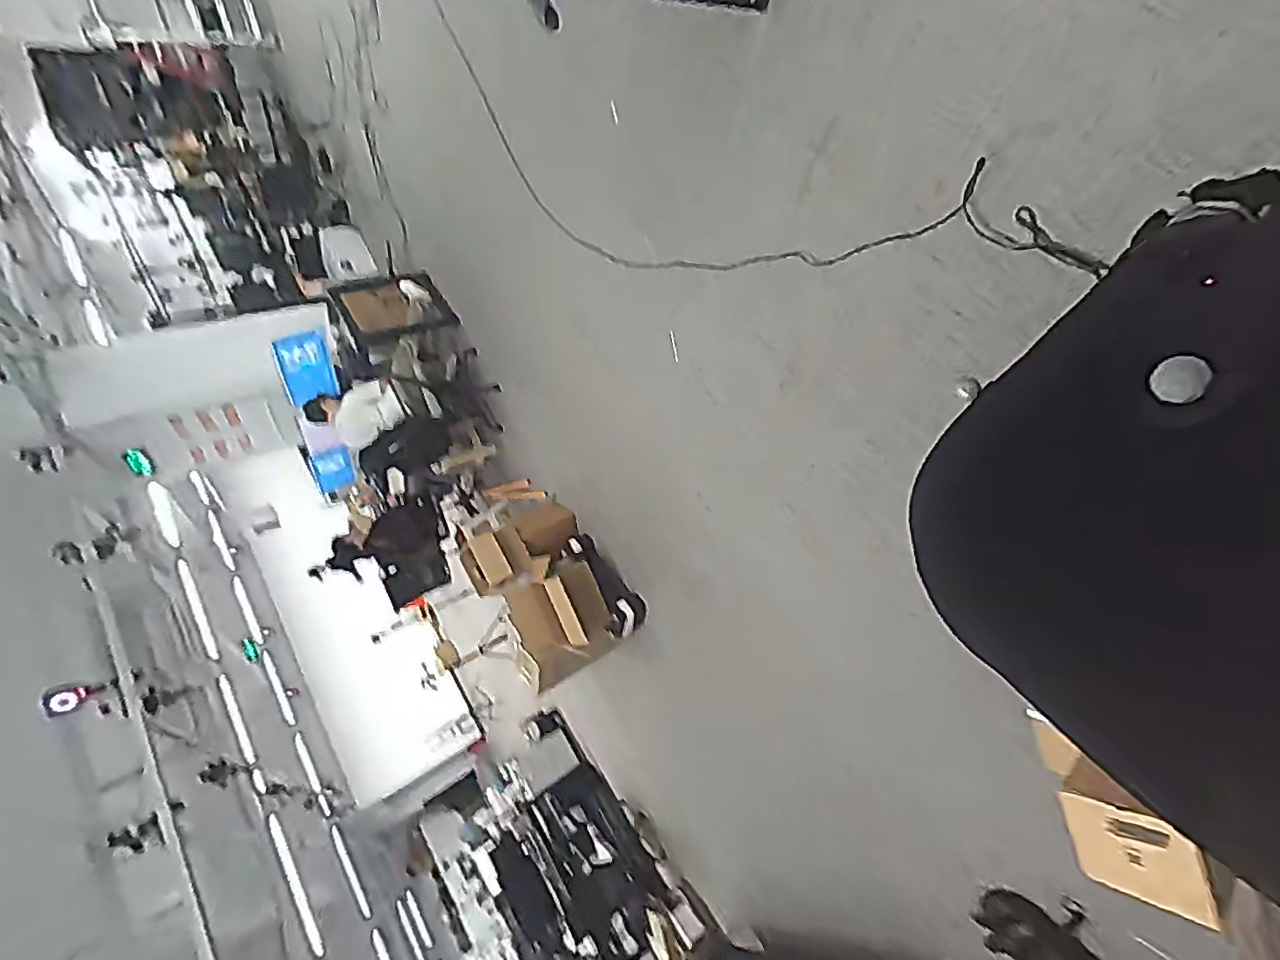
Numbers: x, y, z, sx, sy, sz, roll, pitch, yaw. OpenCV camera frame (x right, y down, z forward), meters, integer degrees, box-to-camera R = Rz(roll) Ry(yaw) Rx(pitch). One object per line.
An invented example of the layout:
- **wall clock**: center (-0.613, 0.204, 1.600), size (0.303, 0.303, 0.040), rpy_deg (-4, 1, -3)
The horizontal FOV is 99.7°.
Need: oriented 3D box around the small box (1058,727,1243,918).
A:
- **small box**: center (0.833, 0.539, 0.885), size (0.168, 0.176, 0.179), rpy_deg (-17, 94, 58)
